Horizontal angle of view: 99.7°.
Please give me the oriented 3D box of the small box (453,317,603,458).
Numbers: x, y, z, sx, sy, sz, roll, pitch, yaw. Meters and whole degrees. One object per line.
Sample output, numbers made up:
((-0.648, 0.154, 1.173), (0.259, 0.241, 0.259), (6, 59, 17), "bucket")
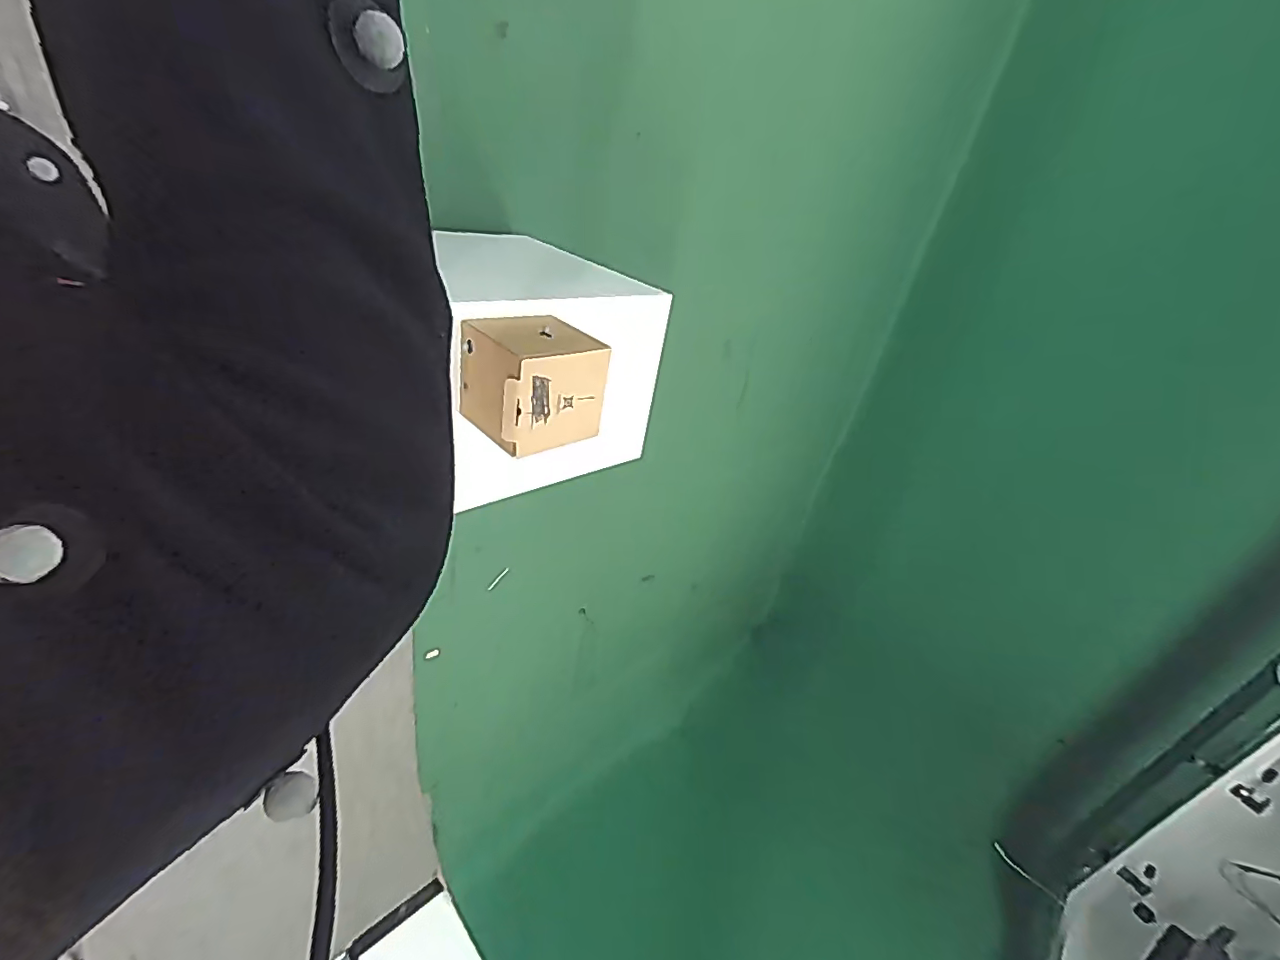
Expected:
((-0.190, -0.160, 0.887), (0.179, 0.176, 0.168), (-20, 134, -43), "small box")
